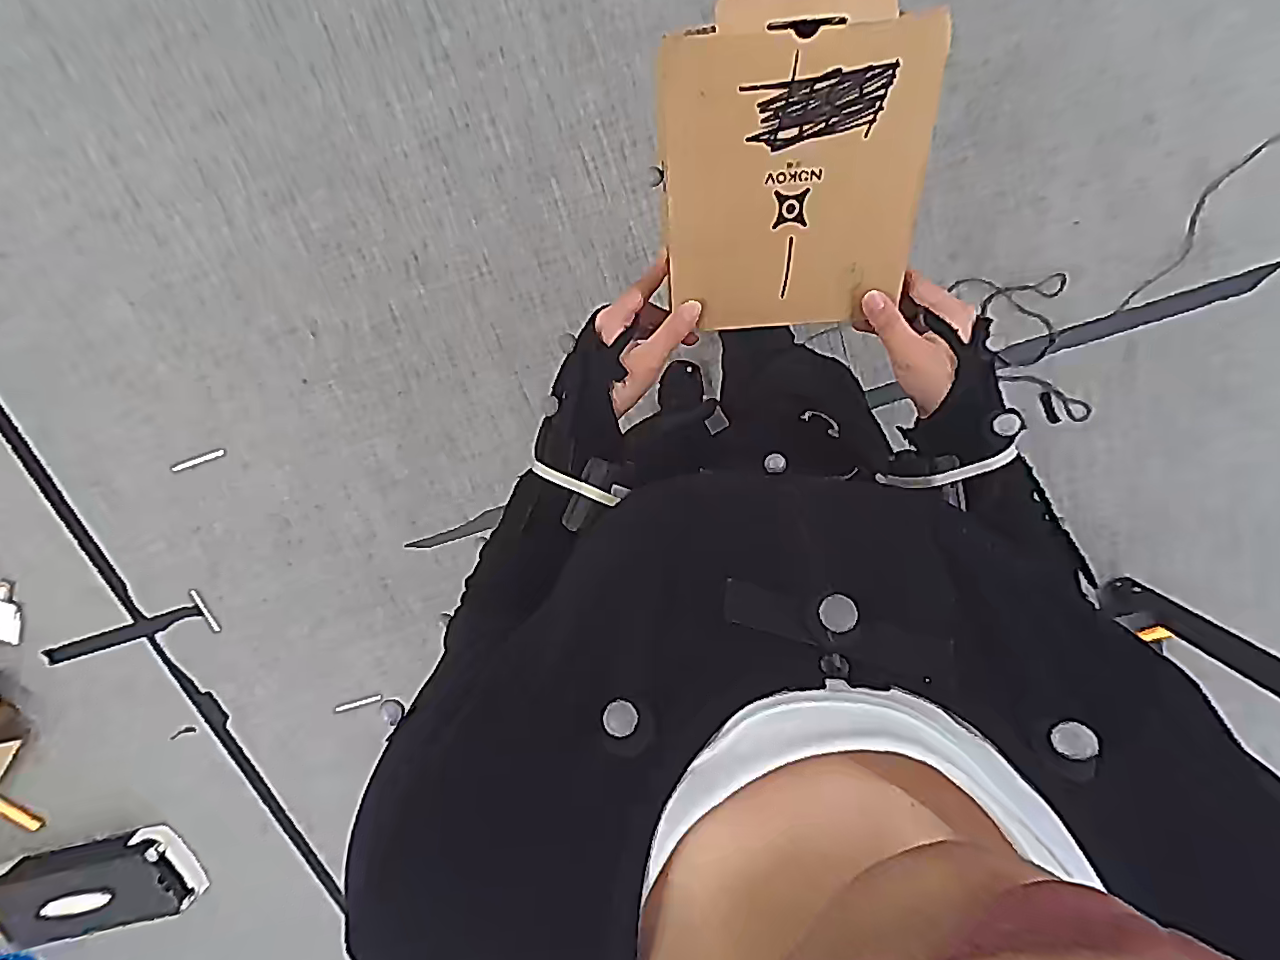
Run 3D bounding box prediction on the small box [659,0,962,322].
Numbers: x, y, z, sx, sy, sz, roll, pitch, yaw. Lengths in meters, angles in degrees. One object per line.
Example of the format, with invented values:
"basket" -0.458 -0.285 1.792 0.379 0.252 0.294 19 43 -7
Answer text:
"small box" 0.102 -0.236 0.412 0.168 0.176 0.179 -3 124 2
